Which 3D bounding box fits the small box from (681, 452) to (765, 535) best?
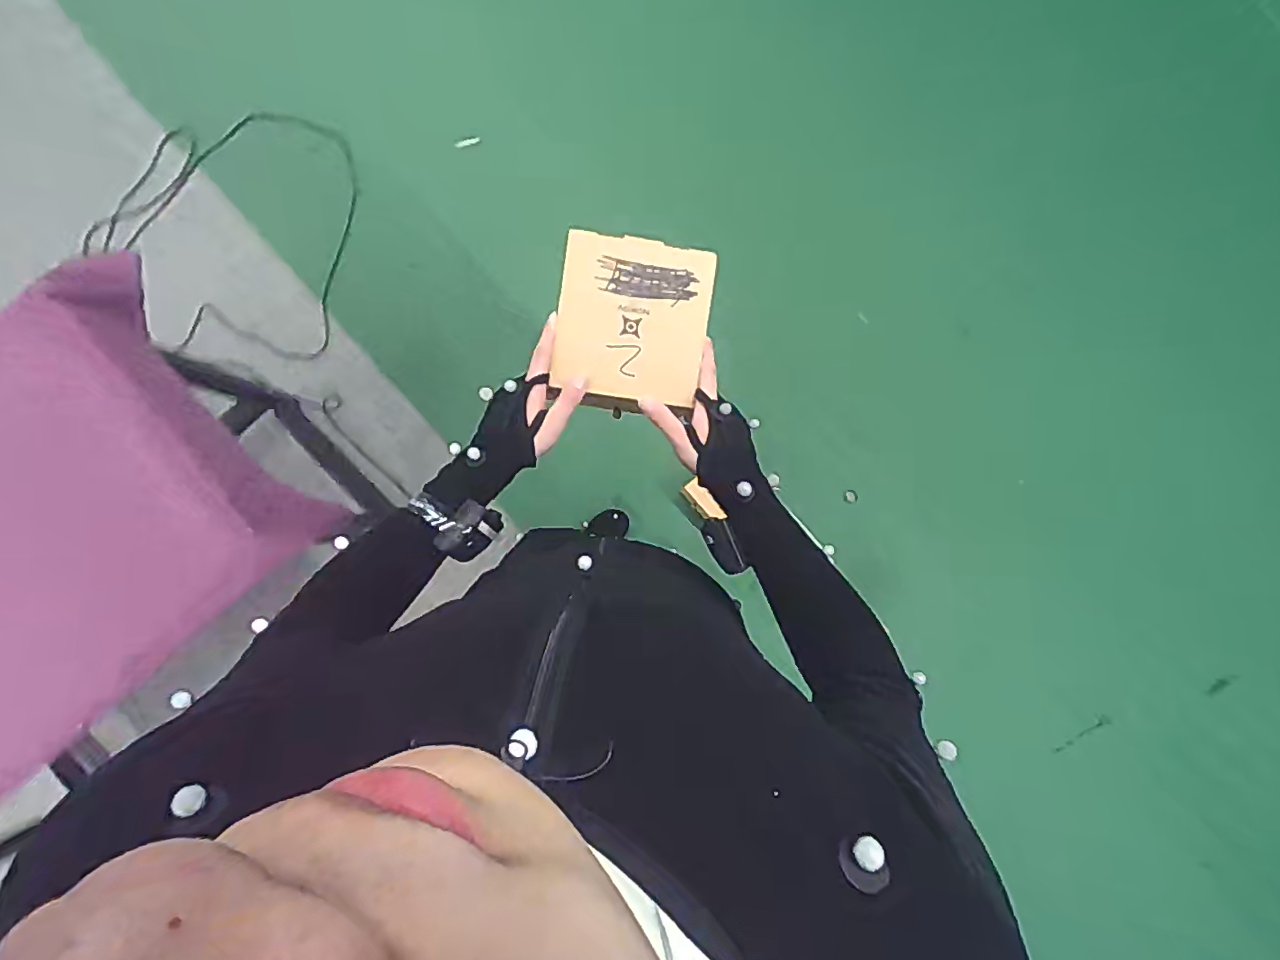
[{"bbox_3d":[0.233,0.045,1.582,0.179,0.176,0.168,-41,87,-5],"label":"small box"}]
